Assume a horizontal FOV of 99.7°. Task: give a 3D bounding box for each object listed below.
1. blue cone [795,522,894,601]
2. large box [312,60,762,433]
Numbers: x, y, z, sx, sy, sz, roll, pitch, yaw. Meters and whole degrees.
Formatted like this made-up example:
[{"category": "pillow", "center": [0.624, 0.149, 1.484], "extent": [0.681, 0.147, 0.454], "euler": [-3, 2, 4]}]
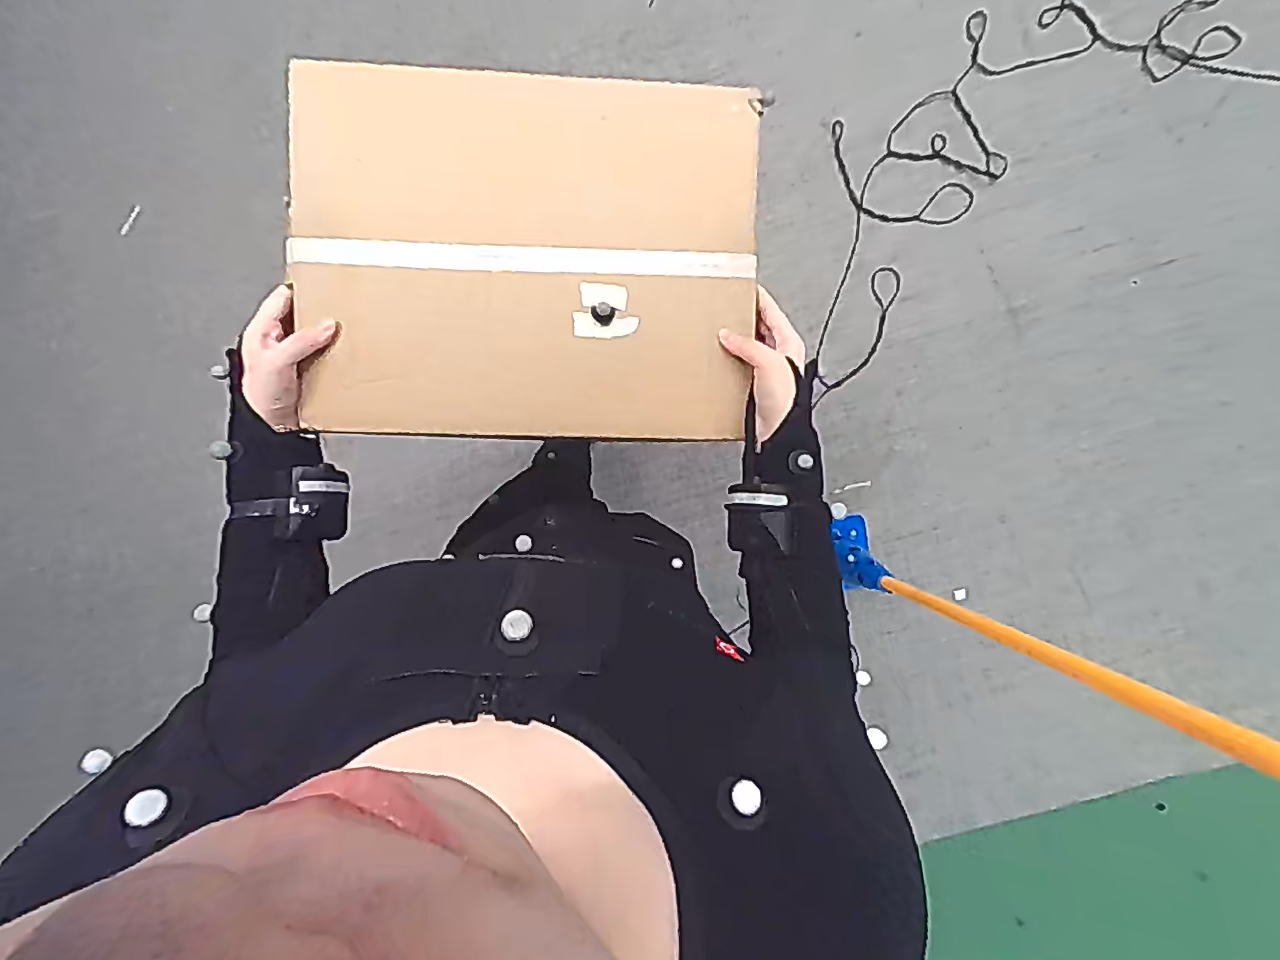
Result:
[{"category": "blue cone", "center": [0.516, 0.219, 1.306], "extent": [0.193, 0.380, 0.192], "euler": [-7, 92, 2]}, {"category": "large box", "center": [-0.101, -0.216, 0.637], "extent": [0.408, 0.320, 0.320], "euler": [1, 94, -5]}]
